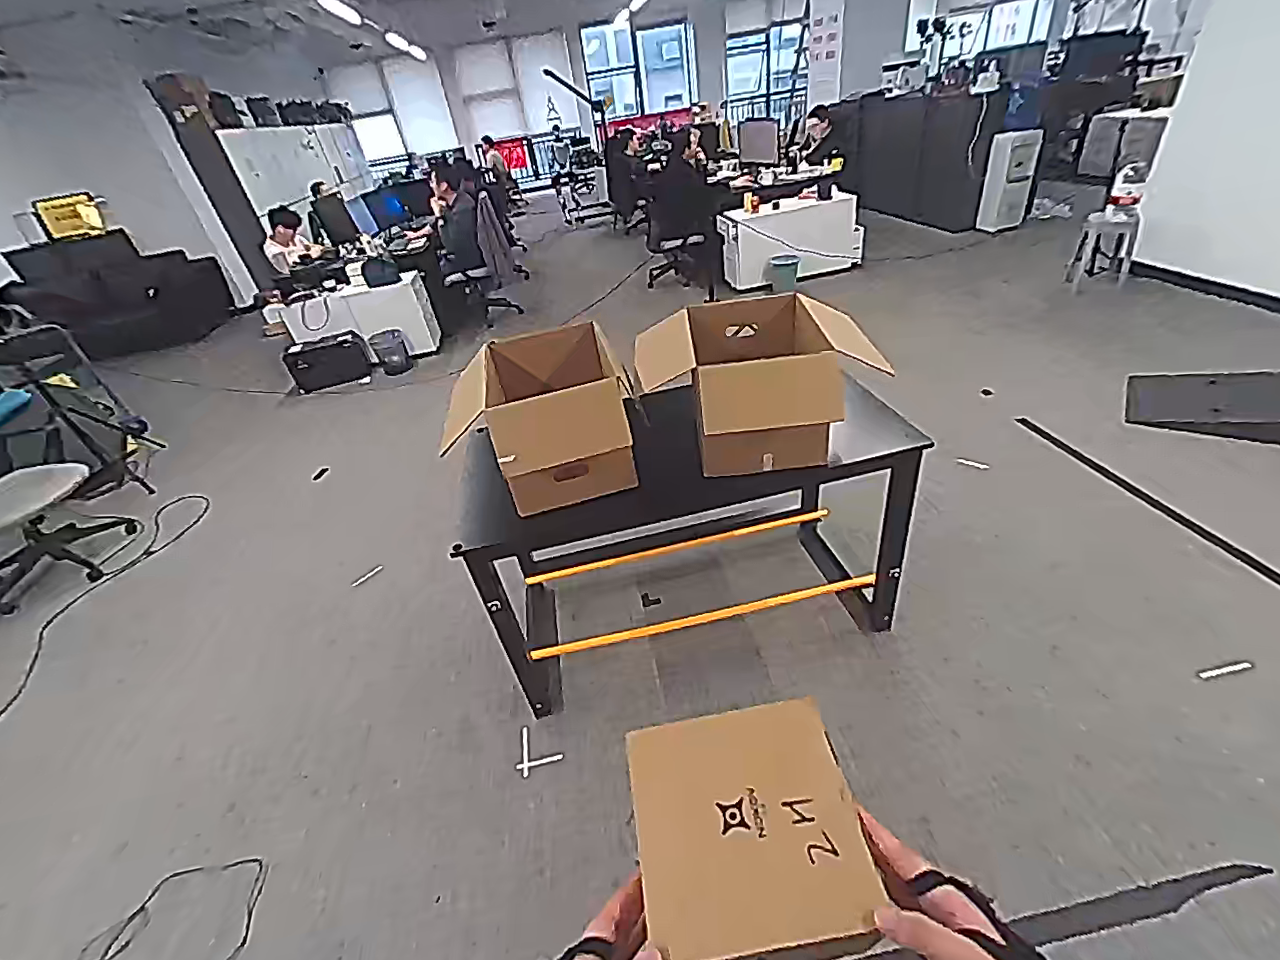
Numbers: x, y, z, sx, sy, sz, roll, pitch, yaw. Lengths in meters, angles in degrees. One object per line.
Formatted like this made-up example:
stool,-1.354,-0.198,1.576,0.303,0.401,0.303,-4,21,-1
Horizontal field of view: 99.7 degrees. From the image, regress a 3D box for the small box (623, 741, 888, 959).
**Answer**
small box,0.090,0.357,0.474,0.179,0.176,0.168,-11,44,0
